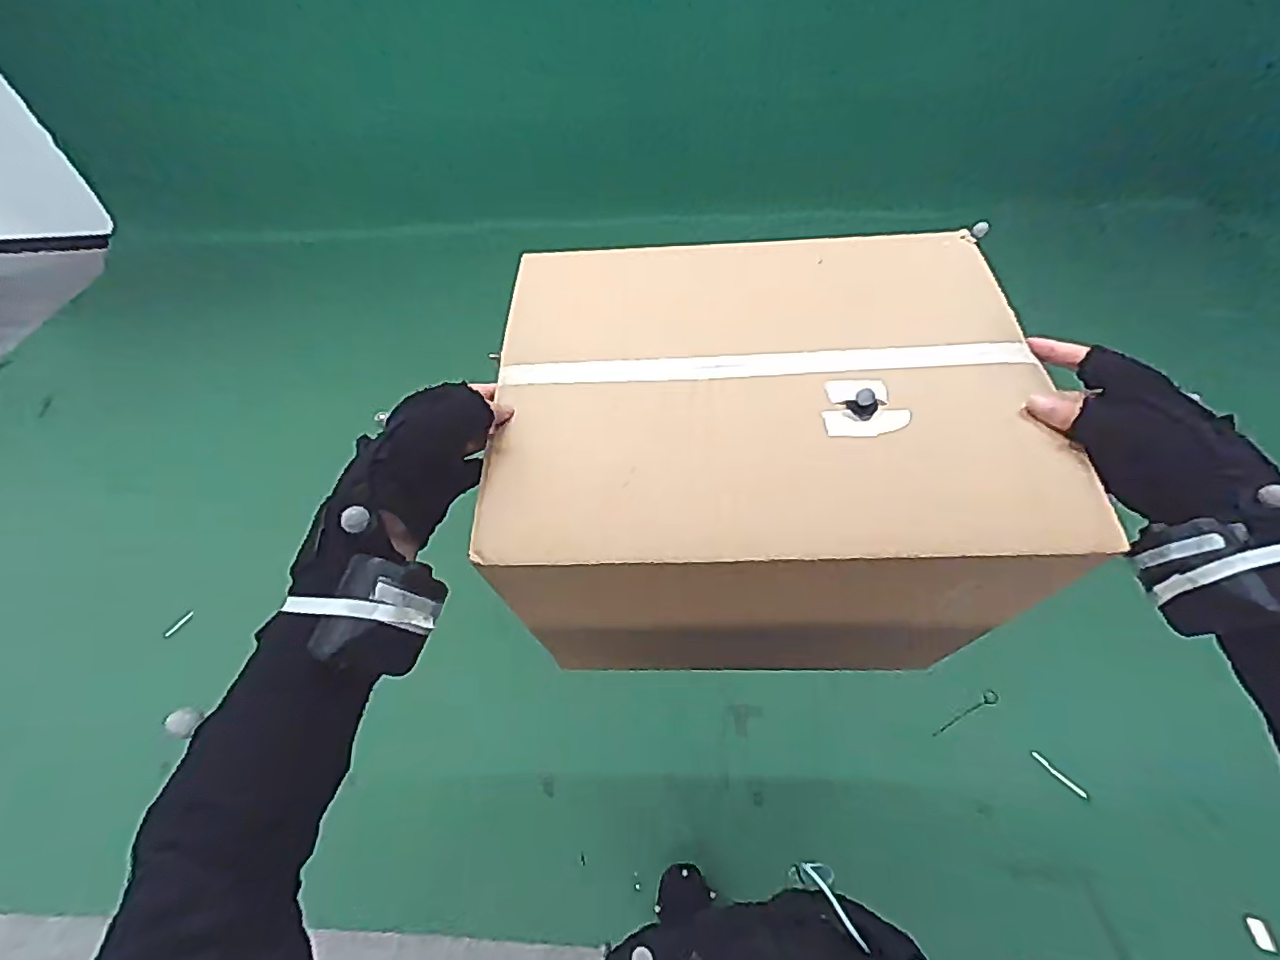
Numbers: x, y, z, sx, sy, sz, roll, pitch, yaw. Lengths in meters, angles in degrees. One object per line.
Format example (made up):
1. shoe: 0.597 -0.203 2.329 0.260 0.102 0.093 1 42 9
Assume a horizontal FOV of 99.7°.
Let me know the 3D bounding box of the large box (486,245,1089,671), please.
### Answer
1. large box: 0.098 0.000 0.558 0.408 0.320 0.320 -2 59 3
